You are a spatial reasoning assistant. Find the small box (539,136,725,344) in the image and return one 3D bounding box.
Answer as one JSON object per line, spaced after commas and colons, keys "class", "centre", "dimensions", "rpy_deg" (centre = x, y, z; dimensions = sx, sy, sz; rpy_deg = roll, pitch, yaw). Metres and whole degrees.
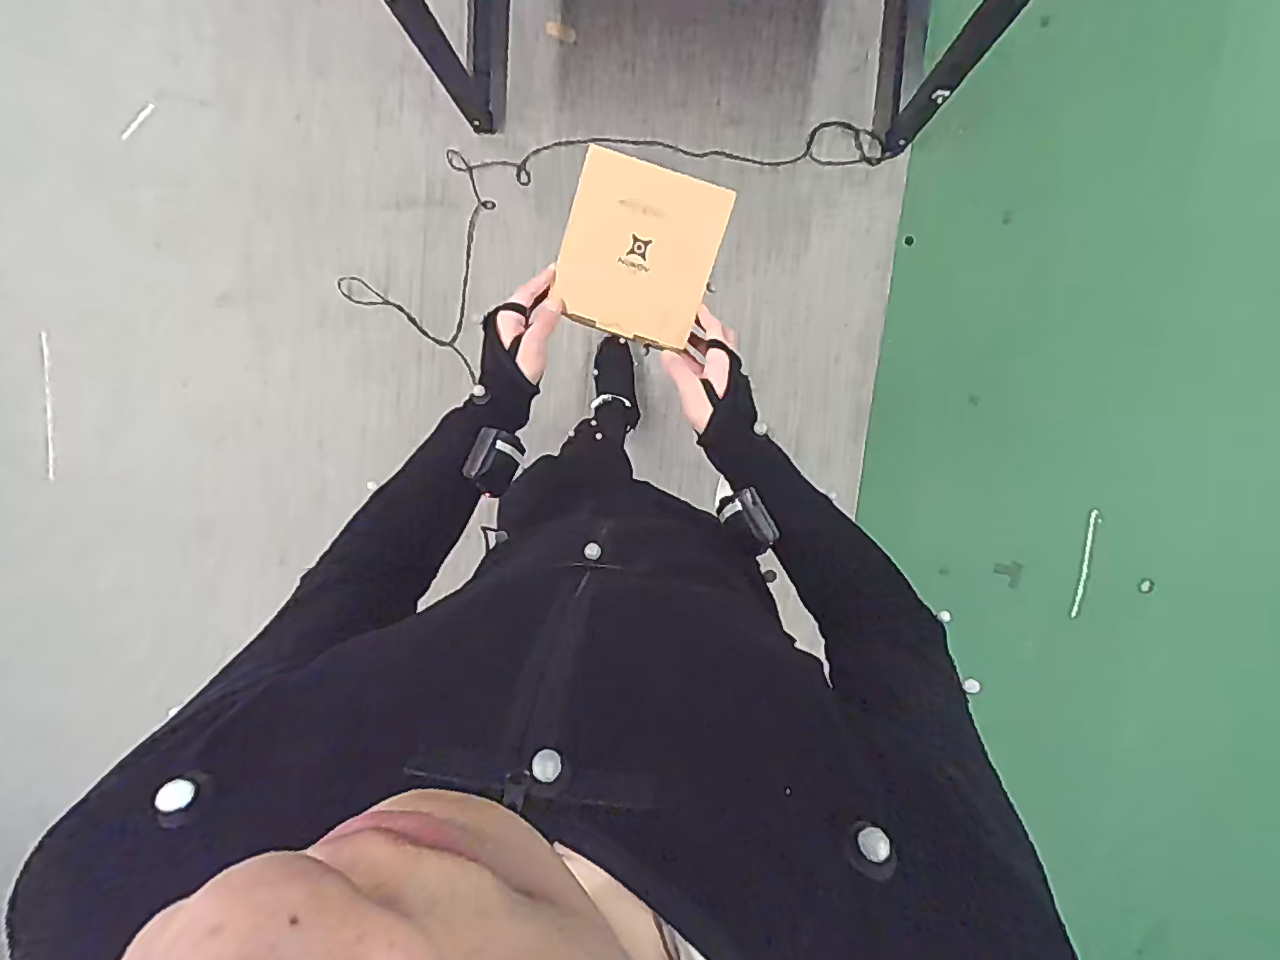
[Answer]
{"class": "small box", "centre": [-0.005, -0.277, 0.670], "dimensions": [0.168, 0.176, 0.179], "rpy_deg": [19, 103, 0]}
